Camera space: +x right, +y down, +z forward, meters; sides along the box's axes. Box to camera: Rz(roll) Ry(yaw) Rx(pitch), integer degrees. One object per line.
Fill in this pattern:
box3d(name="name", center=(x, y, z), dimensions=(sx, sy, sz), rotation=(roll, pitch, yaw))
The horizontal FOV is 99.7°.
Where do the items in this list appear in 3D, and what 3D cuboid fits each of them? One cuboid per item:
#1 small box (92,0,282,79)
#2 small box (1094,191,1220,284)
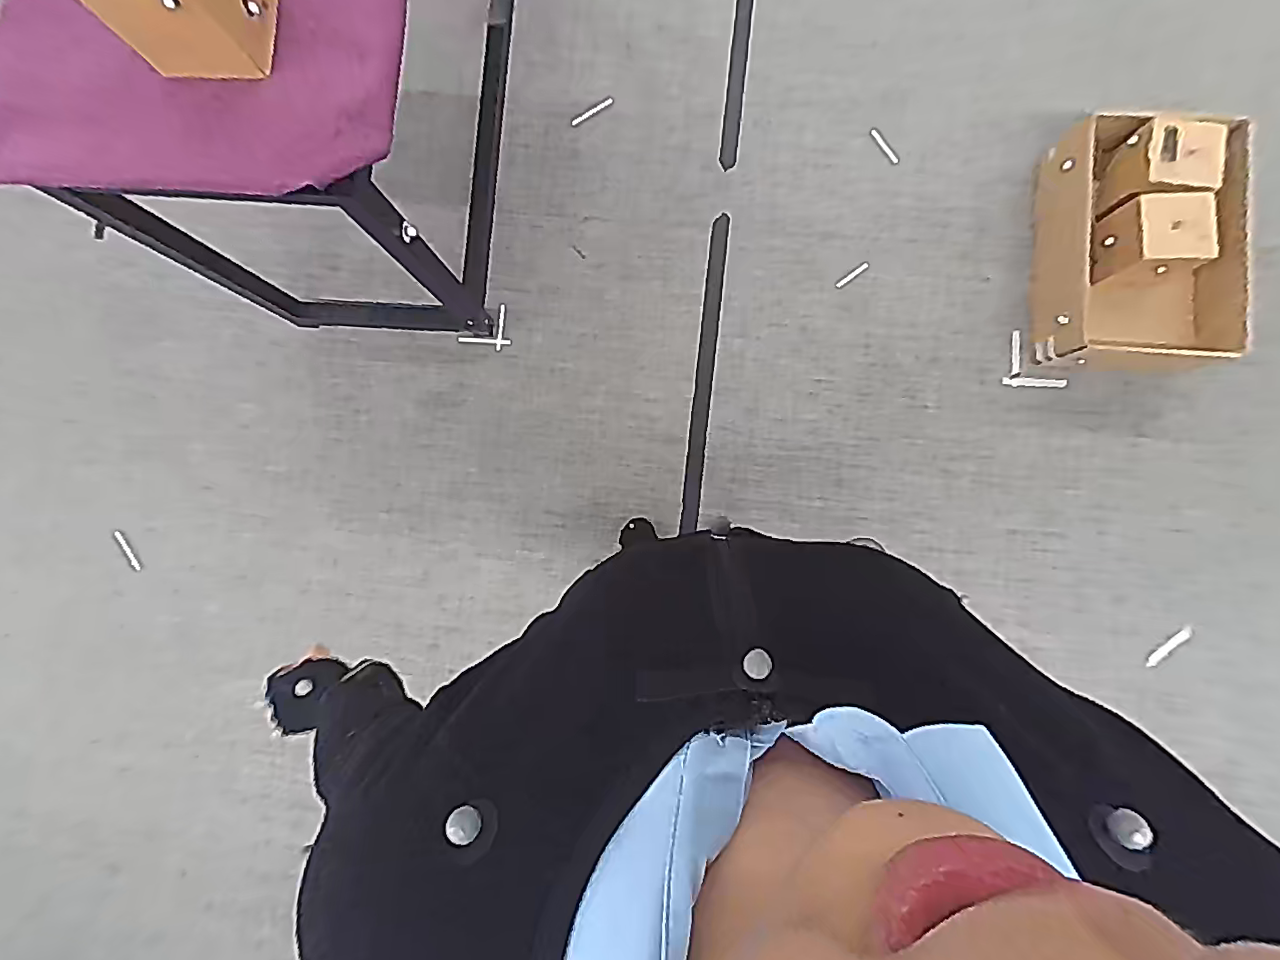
box3d(name="small box", center=(-0.666, -0.722, 0.783), dimensions=(0.179, 0.176, 0.168), rotation=(2, 85, 2))
box3d(name="small box", center=(1.313, -0.615, 1.388), dimensions=(0.179, 0.176, 0.168), rotation=(0, 87, 2))
